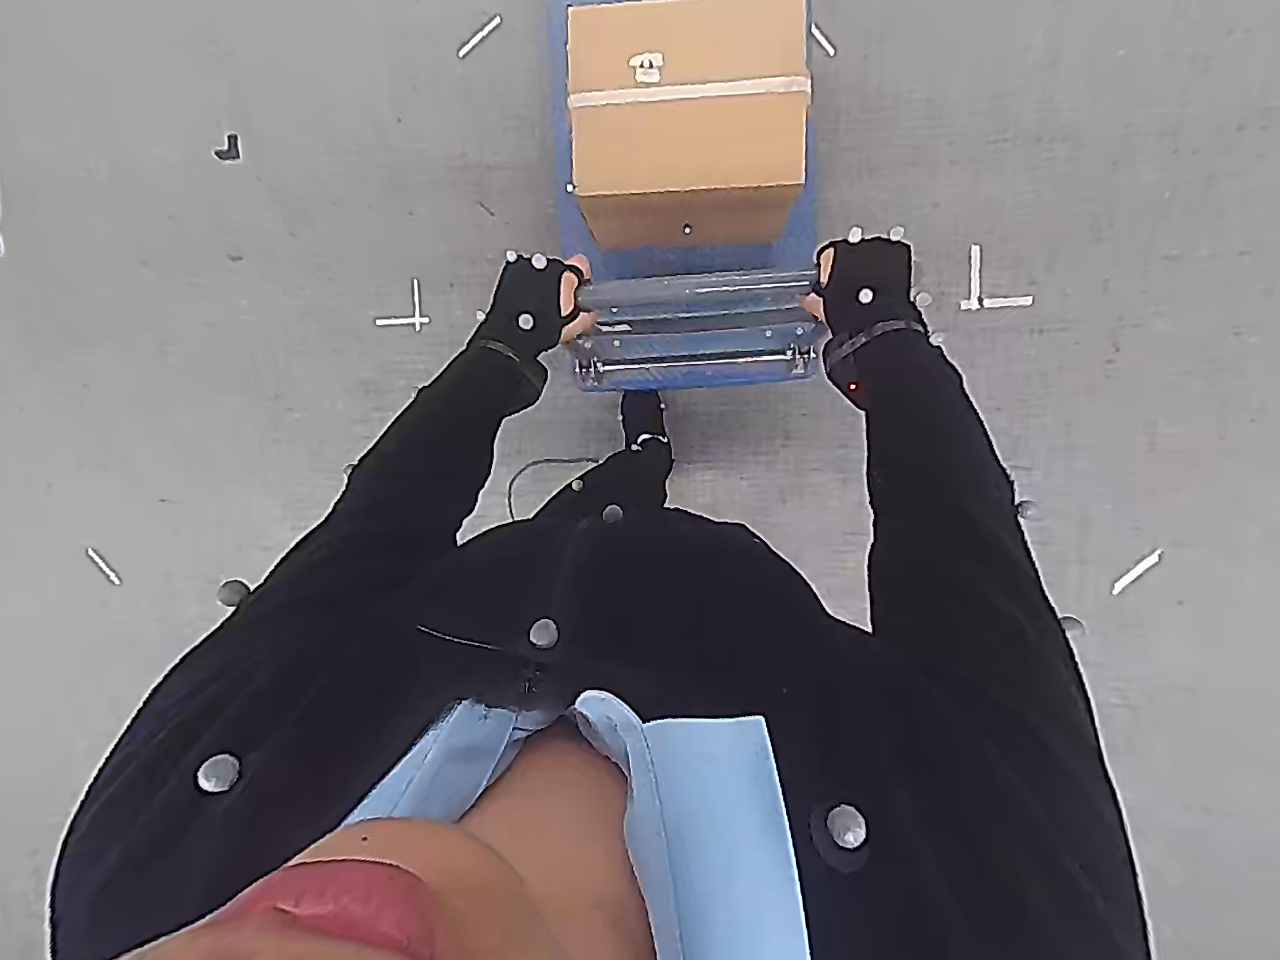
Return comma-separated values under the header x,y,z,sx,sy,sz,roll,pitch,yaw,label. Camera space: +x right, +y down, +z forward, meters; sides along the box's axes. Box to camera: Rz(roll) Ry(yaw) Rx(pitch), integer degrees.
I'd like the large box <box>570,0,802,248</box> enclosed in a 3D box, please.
x,y,z,sx,sy,sz,roll,pitch,yaw,label
0.094,-0.681,1.090,0.408,0.320,0.320,-1,95,5,large box
